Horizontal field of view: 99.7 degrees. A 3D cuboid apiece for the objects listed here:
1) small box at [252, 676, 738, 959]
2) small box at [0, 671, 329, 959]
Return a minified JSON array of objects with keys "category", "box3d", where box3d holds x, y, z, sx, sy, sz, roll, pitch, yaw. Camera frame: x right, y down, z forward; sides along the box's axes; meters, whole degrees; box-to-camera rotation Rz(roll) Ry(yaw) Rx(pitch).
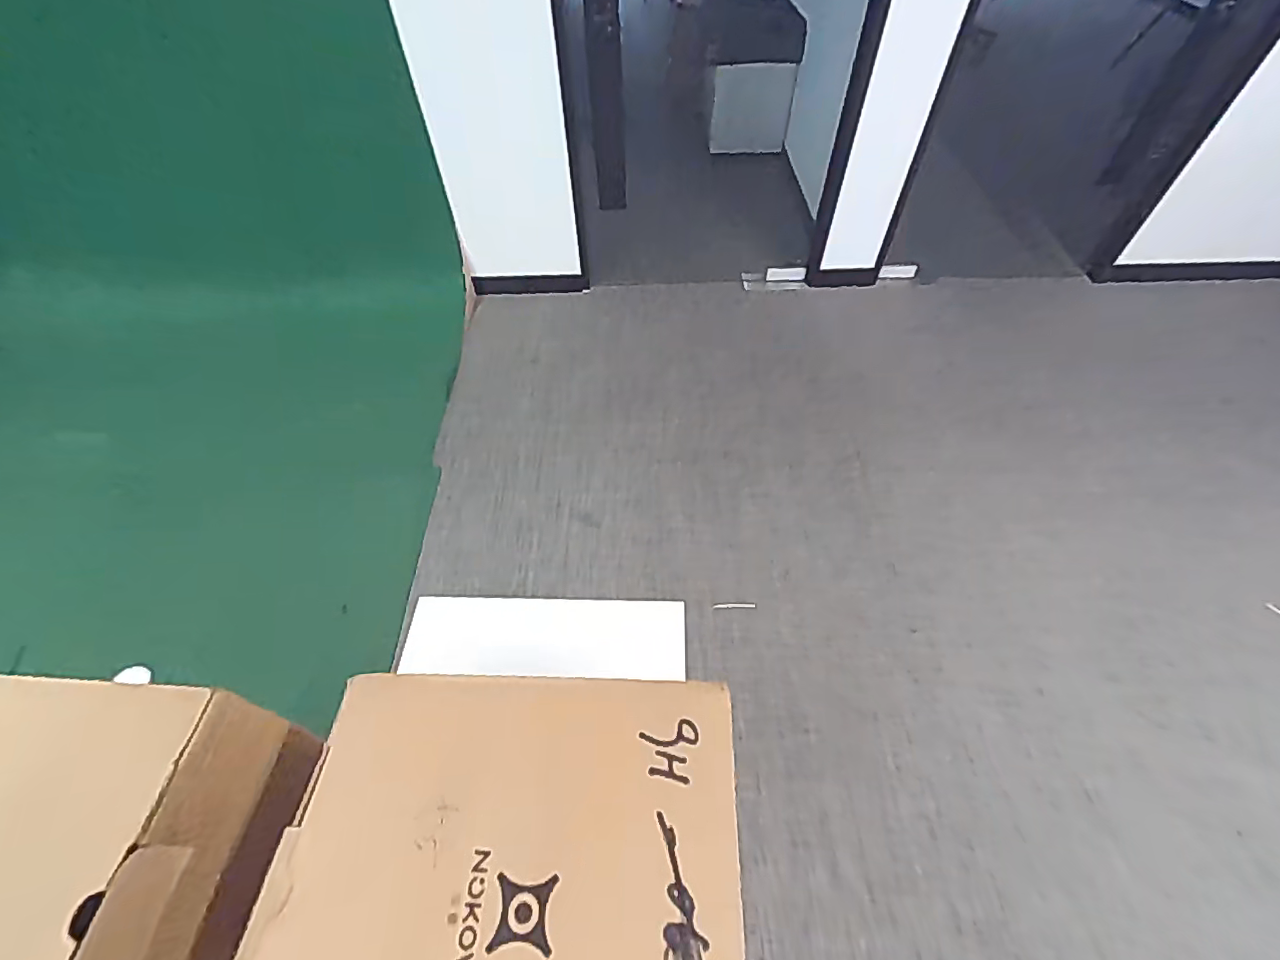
[{"category":"small box","box3d":[-0.047,0.205,0.260,0.179,0.176,0.168,0,52,4]},{"category":"small box","box3d":[-0.282,0.205,0.266,0.179,0.176,0.168,3,52,2]}]
